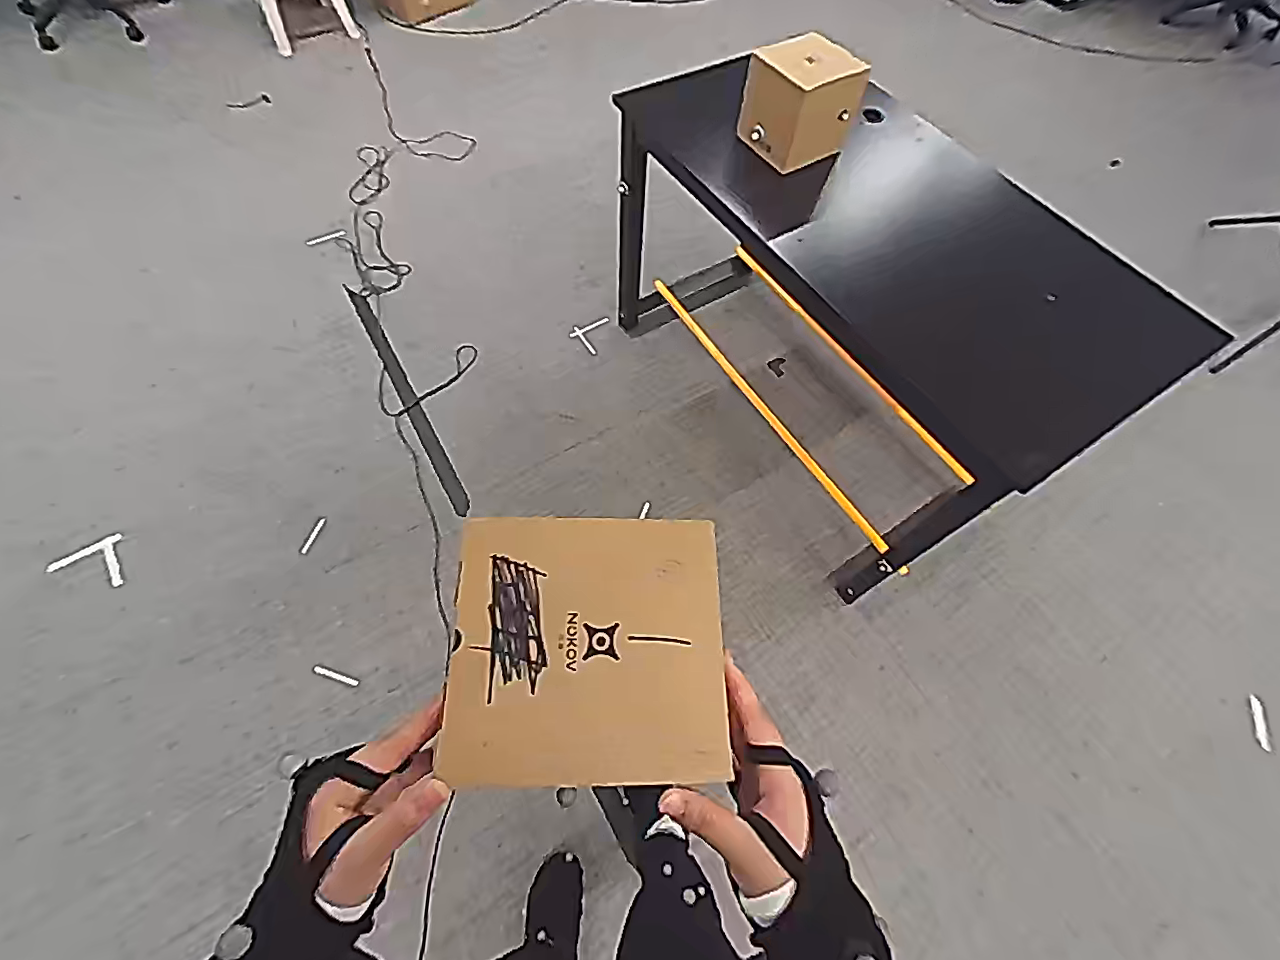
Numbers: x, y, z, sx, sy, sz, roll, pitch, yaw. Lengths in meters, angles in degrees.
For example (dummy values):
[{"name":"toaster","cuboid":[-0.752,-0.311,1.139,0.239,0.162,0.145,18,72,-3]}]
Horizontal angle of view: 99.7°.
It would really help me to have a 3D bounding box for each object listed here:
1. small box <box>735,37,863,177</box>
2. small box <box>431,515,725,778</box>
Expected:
[{"name":"small box","cuboid":[0.324,-0.783,1.140,0.179,0.176,0.168,-31,67,-17]},{"name":"small box","cuboid":[-0.042,0.133,0.422,0.179,0.176,0.168,0,65,-5]}]
